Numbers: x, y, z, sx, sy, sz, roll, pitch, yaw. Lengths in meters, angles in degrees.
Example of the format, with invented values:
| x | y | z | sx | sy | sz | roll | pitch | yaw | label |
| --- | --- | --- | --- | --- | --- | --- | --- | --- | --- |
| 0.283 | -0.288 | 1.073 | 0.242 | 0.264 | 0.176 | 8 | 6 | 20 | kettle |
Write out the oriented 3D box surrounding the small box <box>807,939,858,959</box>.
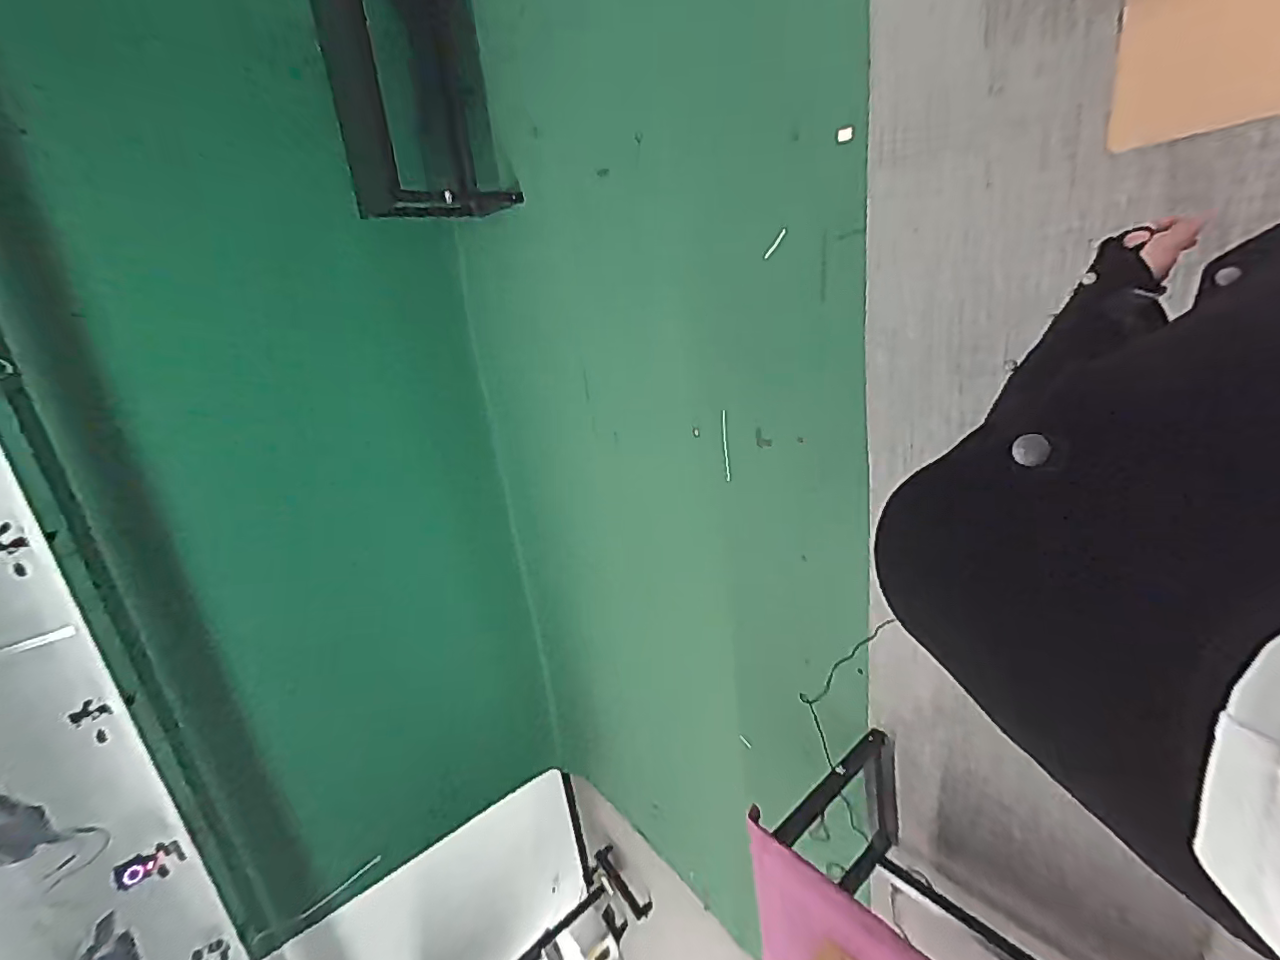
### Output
| x | y | z | sx | sy | sz | roll | pitch | yaw | label |
| --- | --- | --- | --- | --- | --- | --- | --- | --- | --- |
| 0.548 | 1.421 | 1.481 | 0.179 | 0.176 | 0.168 | 12 | 116 | 52 | small box |
